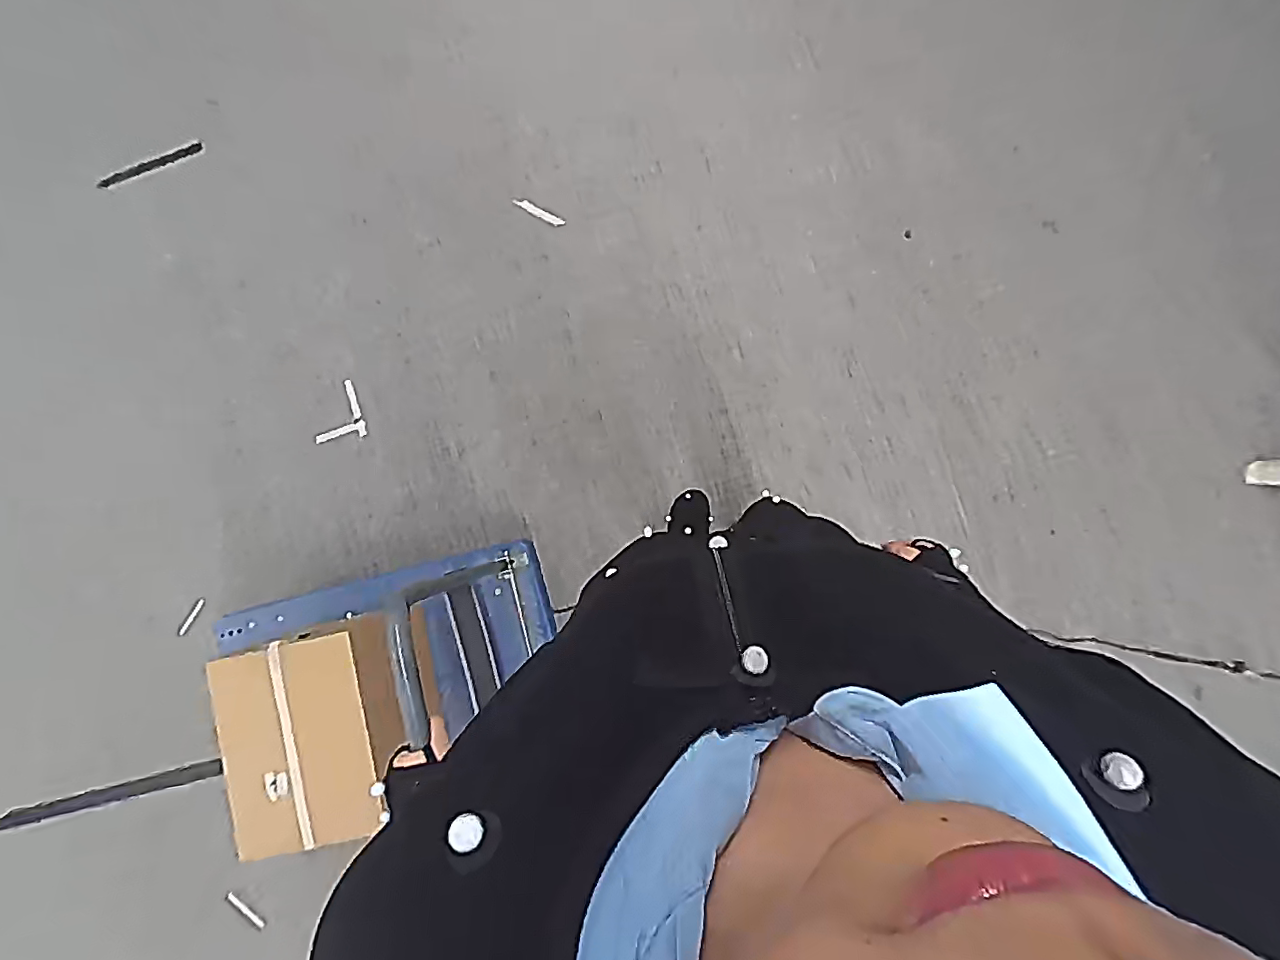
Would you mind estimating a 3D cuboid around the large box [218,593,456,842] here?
[{"bbox_3d":[-0.664,0.510,1.239,0.320,0.320,0.408,-13,88,5],"label":"large box"}]
